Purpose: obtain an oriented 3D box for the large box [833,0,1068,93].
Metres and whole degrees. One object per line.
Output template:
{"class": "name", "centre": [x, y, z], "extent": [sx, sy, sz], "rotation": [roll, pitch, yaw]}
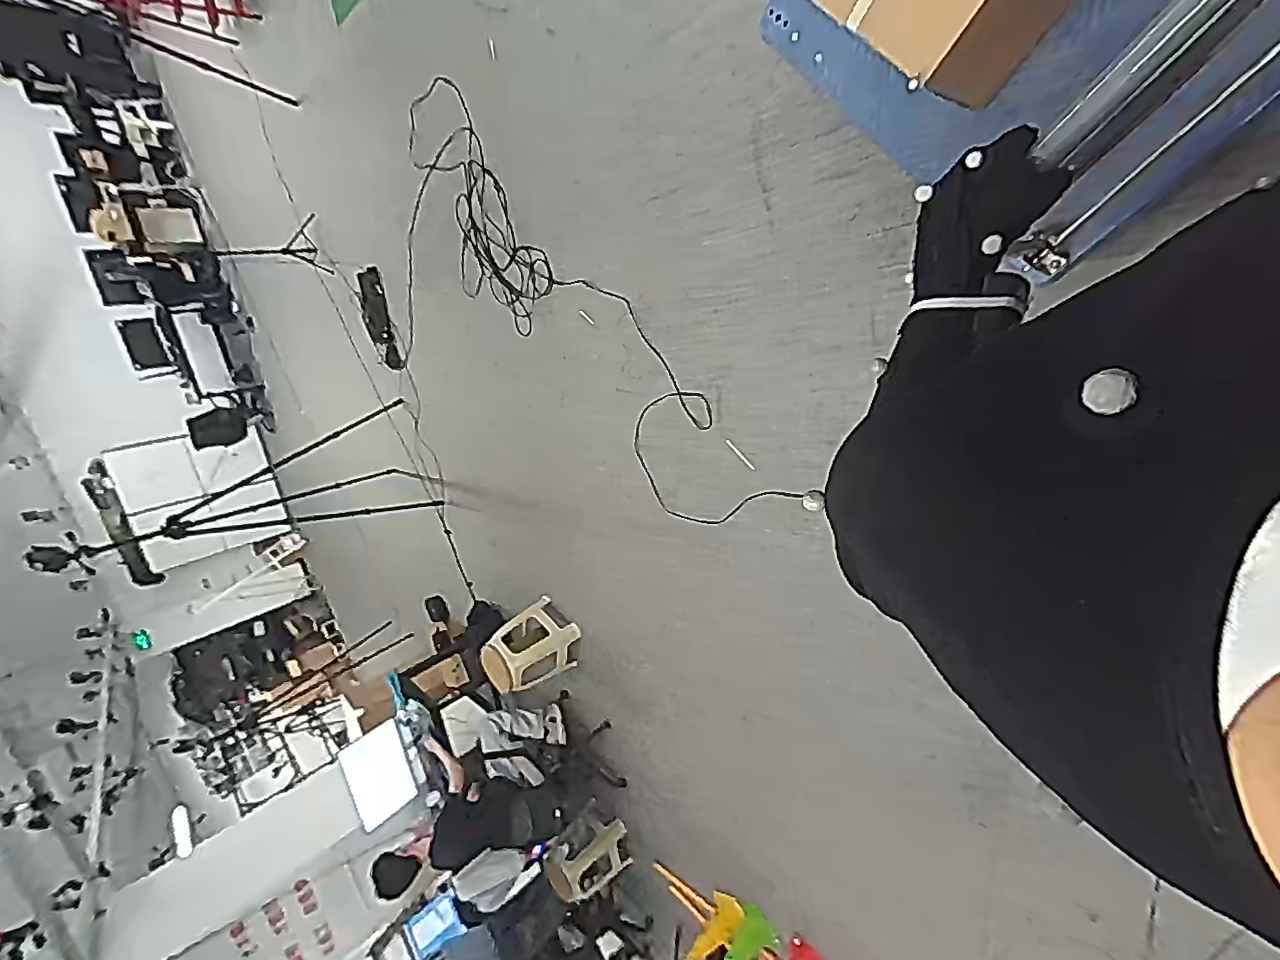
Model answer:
{"class": "large box", "centre": [0.537, -0.889, 0.806], "extent": [0.320, 0.320, 0.408], "rotation": [53, 140, 16]}
